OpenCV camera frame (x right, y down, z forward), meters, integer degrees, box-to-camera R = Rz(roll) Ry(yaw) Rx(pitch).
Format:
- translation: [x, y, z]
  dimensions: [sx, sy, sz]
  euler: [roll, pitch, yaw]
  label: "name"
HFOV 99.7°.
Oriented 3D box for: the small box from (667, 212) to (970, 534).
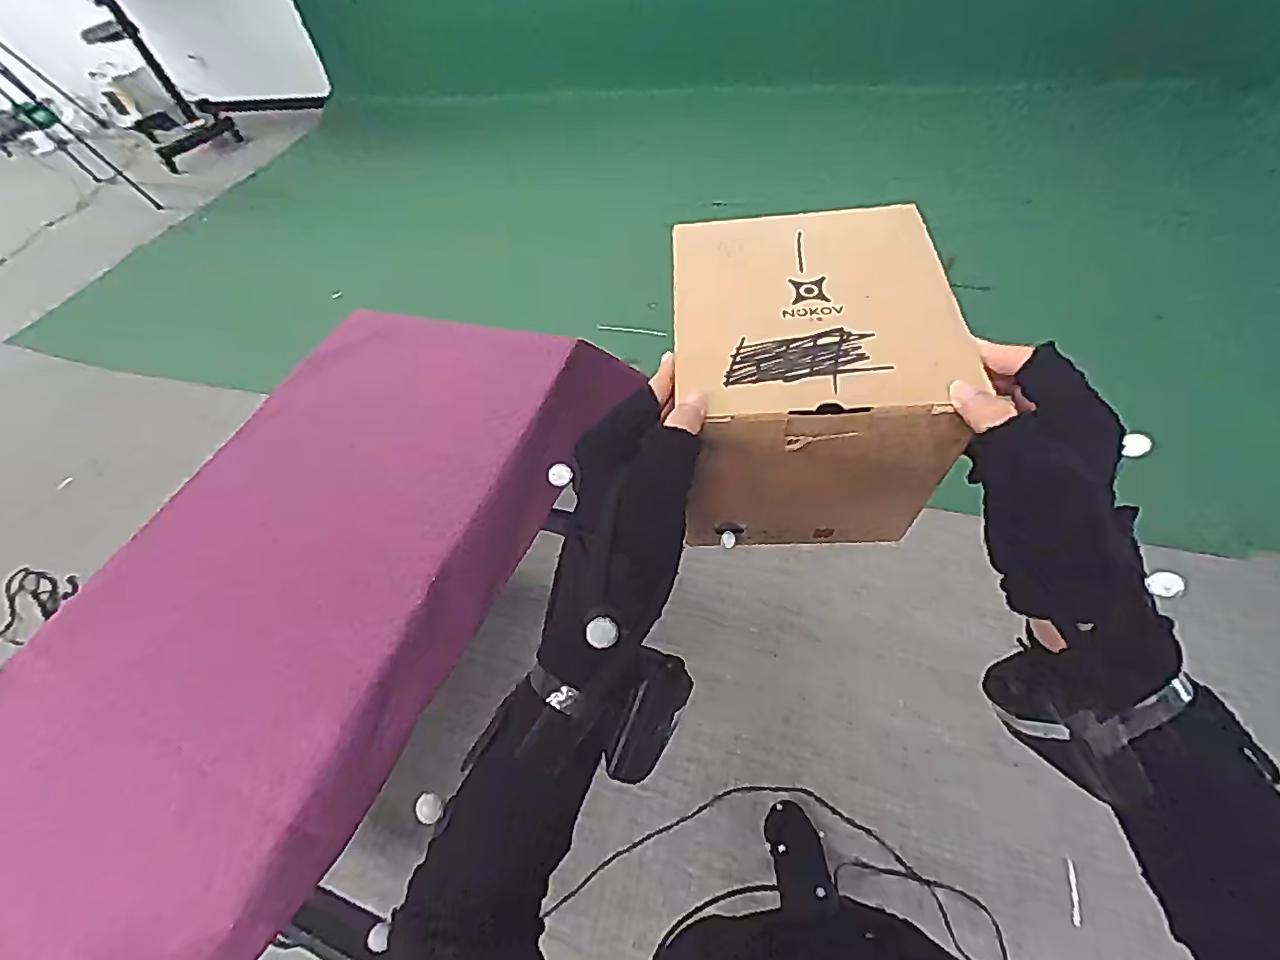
- translation: [0.109, -0.066, 0.407]
  dimensions: [0.168, 0.176, 0.179]
  euler: [-2, 58, 6]
  label: "small box"
